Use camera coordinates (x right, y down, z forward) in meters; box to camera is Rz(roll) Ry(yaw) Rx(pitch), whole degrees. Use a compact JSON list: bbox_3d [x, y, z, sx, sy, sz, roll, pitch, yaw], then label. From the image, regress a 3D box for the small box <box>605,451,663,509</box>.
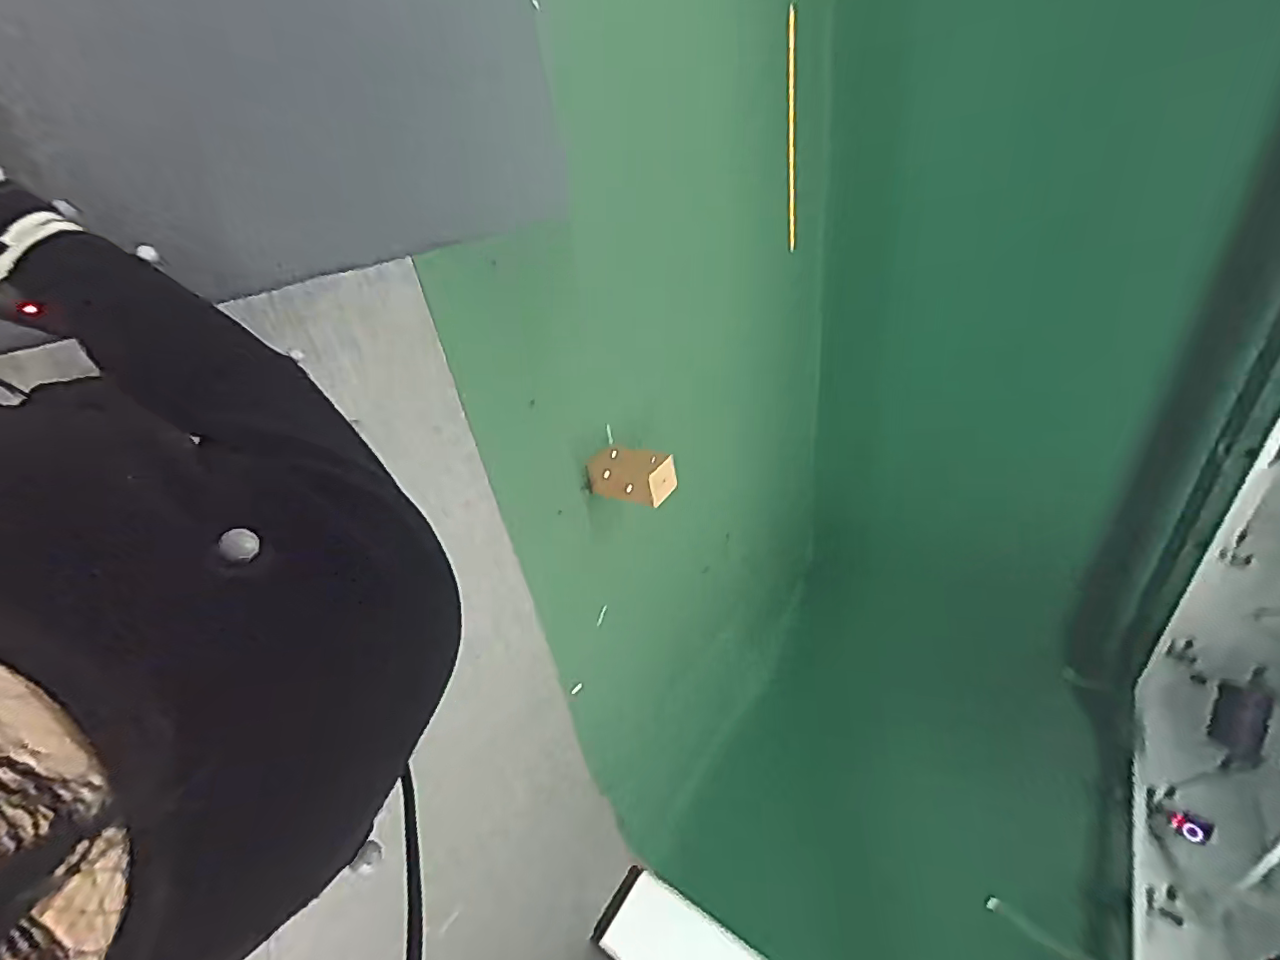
[{"bbox_3d":[-0.024,-0.007,2.309,0.179,0.176,0.168,-44,135,-39],"label":"small box"}]
